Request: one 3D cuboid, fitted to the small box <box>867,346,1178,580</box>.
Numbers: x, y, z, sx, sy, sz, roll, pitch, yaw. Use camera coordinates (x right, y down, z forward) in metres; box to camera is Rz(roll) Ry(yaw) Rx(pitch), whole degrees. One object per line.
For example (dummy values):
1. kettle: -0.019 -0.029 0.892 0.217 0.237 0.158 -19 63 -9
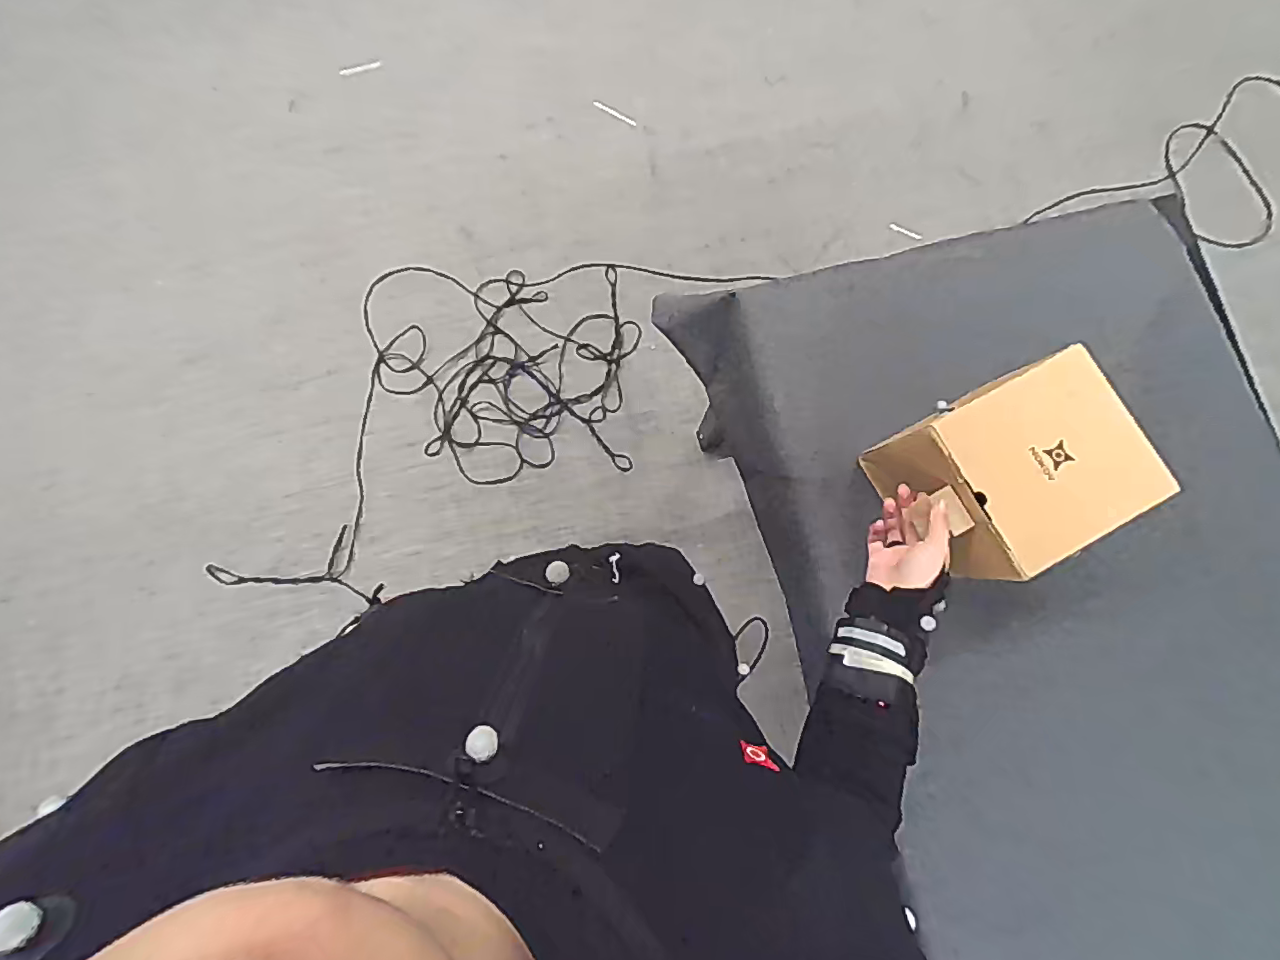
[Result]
1. small box: 0.385 -0.010 0.581 0.179 0.176 0.168 -29 84 -4
